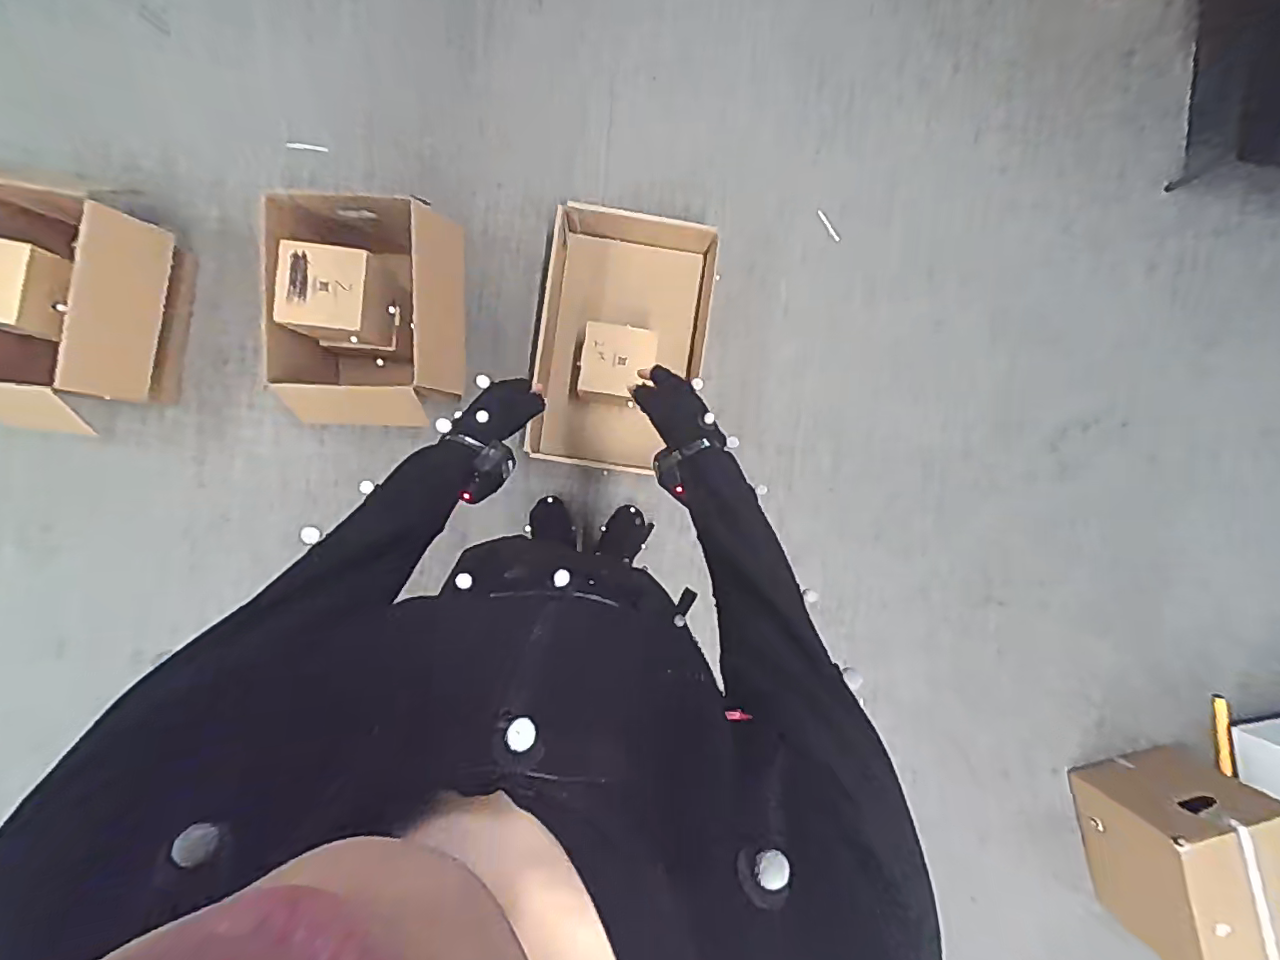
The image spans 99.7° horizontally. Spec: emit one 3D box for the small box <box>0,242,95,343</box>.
[{"bbox_3d":[-1.316,-0.395,1.134,0.179,0.176,0.168,9,89,-4],"label":"small box"}]
